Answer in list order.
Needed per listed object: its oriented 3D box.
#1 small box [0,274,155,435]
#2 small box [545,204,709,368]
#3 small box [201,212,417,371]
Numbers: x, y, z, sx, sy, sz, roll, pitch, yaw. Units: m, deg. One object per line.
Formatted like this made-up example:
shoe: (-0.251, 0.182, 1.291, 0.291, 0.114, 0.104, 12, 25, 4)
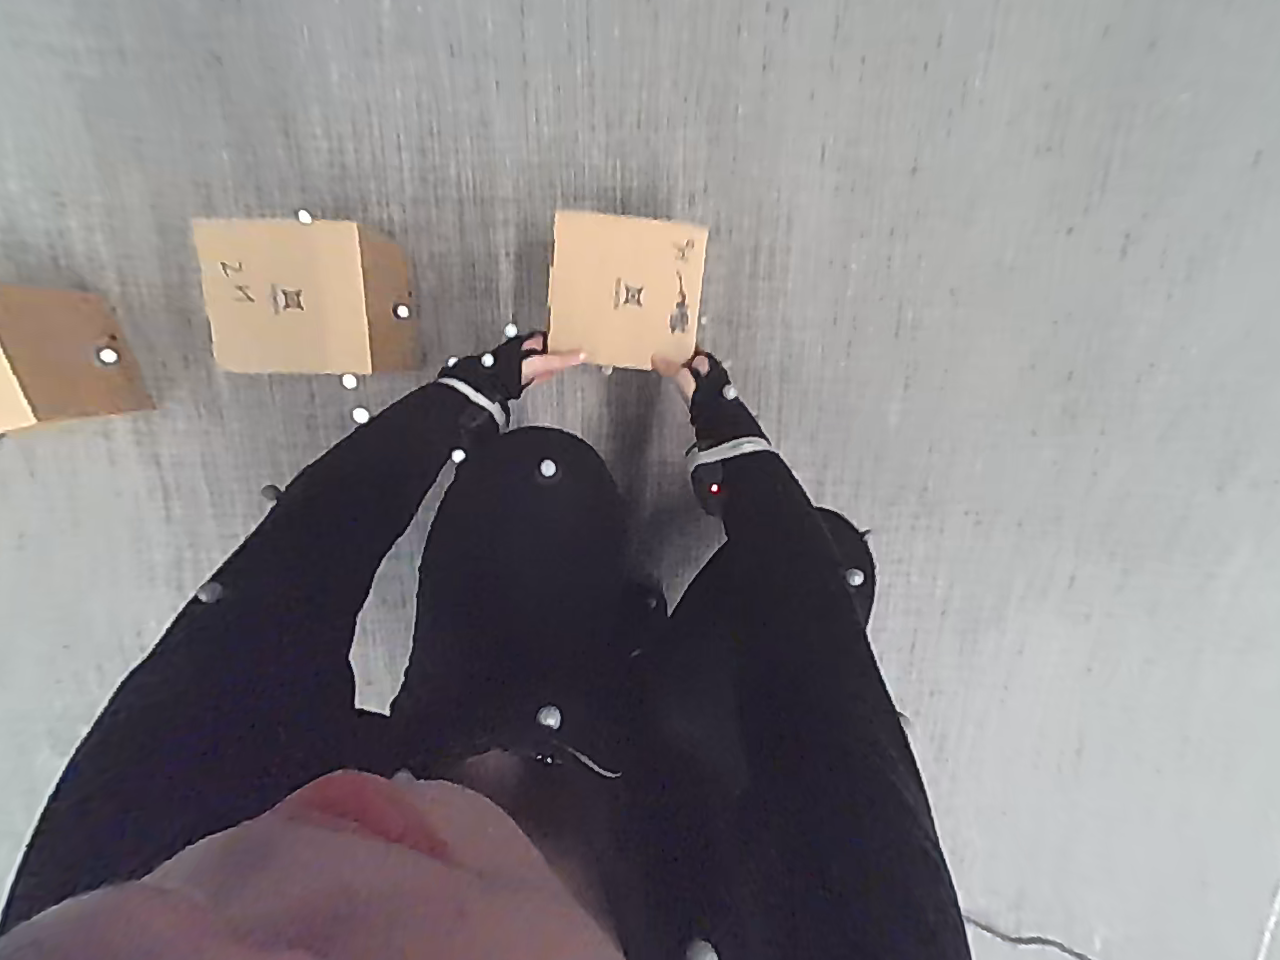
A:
small box: (-0.784, -0.148, 0.677, 0.179, 0.176, 0.168, -12, 103, -1)
small box: (-0.020, -0.237, 0.699, 0.179, 0.176, 0.168, 6, 102, -4)
small box: (-0.394, -0.225, 0.682, 0.179, 0.176, 0.168, 0, 102, -4)
